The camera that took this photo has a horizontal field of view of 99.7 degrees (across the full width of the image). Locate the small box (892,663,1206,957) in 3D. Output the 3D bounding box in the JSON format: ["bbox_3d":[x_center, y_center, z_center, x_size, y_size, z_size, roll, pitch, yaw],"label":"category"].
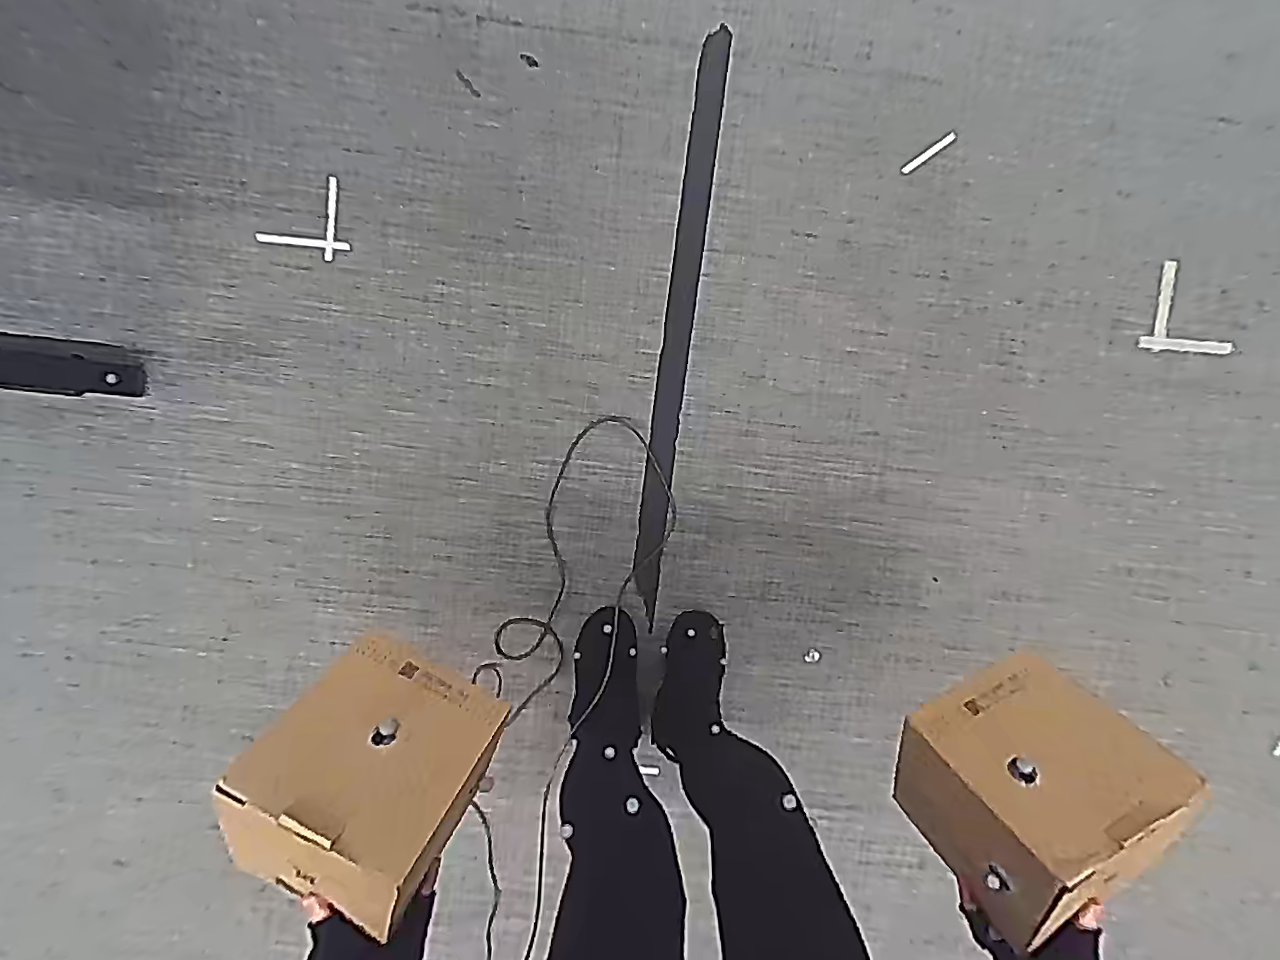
[{"bbox_3d":[0.380,0.311,0.540,0.168,0.176,0.179,-20,125,-12],"label":"small box"}]

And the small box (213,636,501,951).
[{"bbox_3d":[-0.253,0.284,0.513,0.168,0.176,0.179,27,123,5],"label":"small box"}]
